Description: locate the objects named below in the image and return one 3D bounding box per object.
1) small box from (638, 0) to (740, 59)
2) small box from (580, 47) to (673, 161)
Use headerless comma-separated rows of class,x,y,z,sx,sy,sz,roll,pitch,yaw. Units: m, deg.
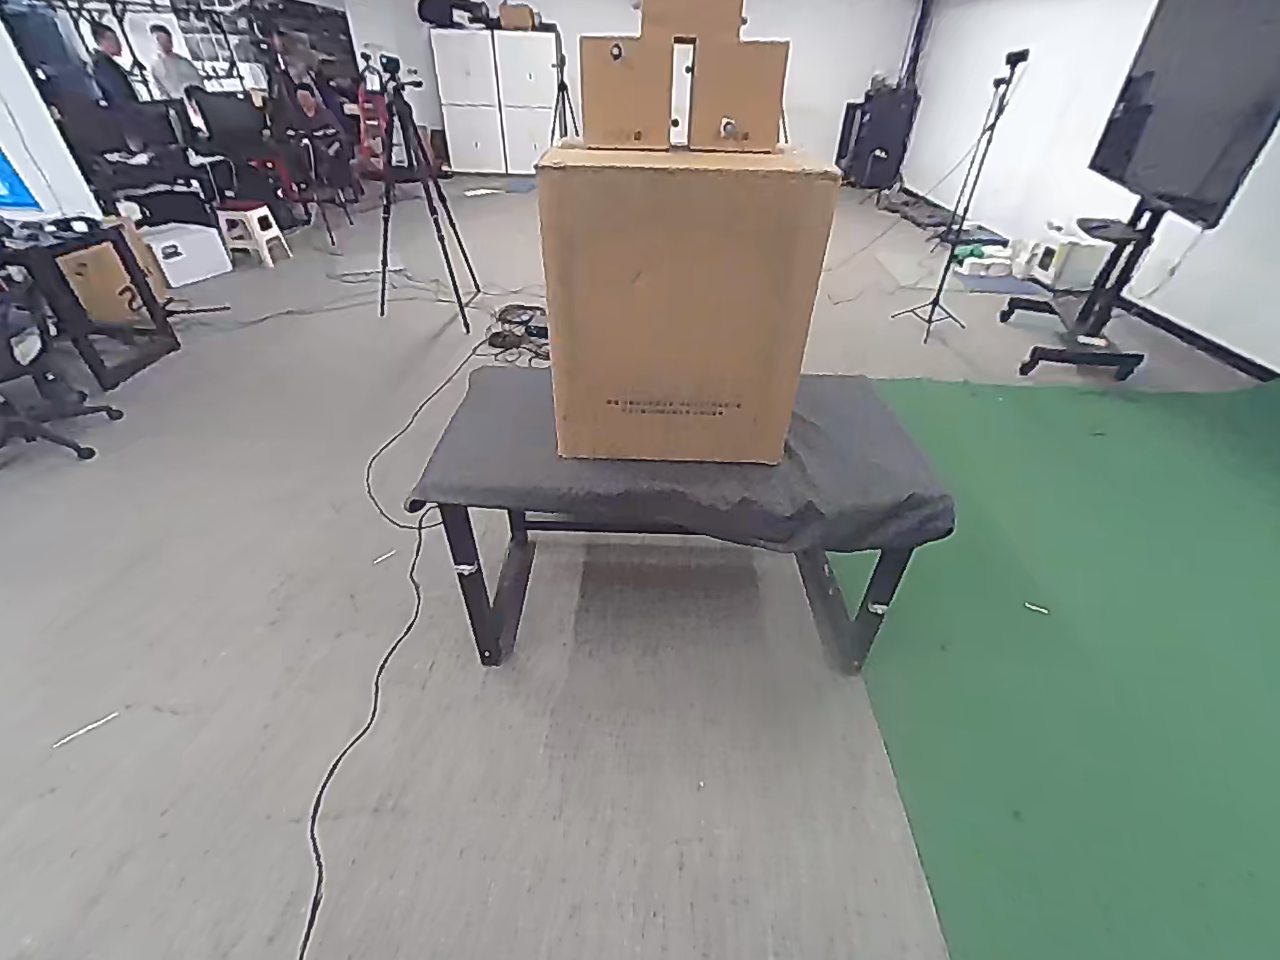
small box,0.088,-0.868,0.972,0.179,0.176,0.168,1,35,0
small box,-0.022,-0.730,1.056,0.168,0.176,0.179,1,35,2
